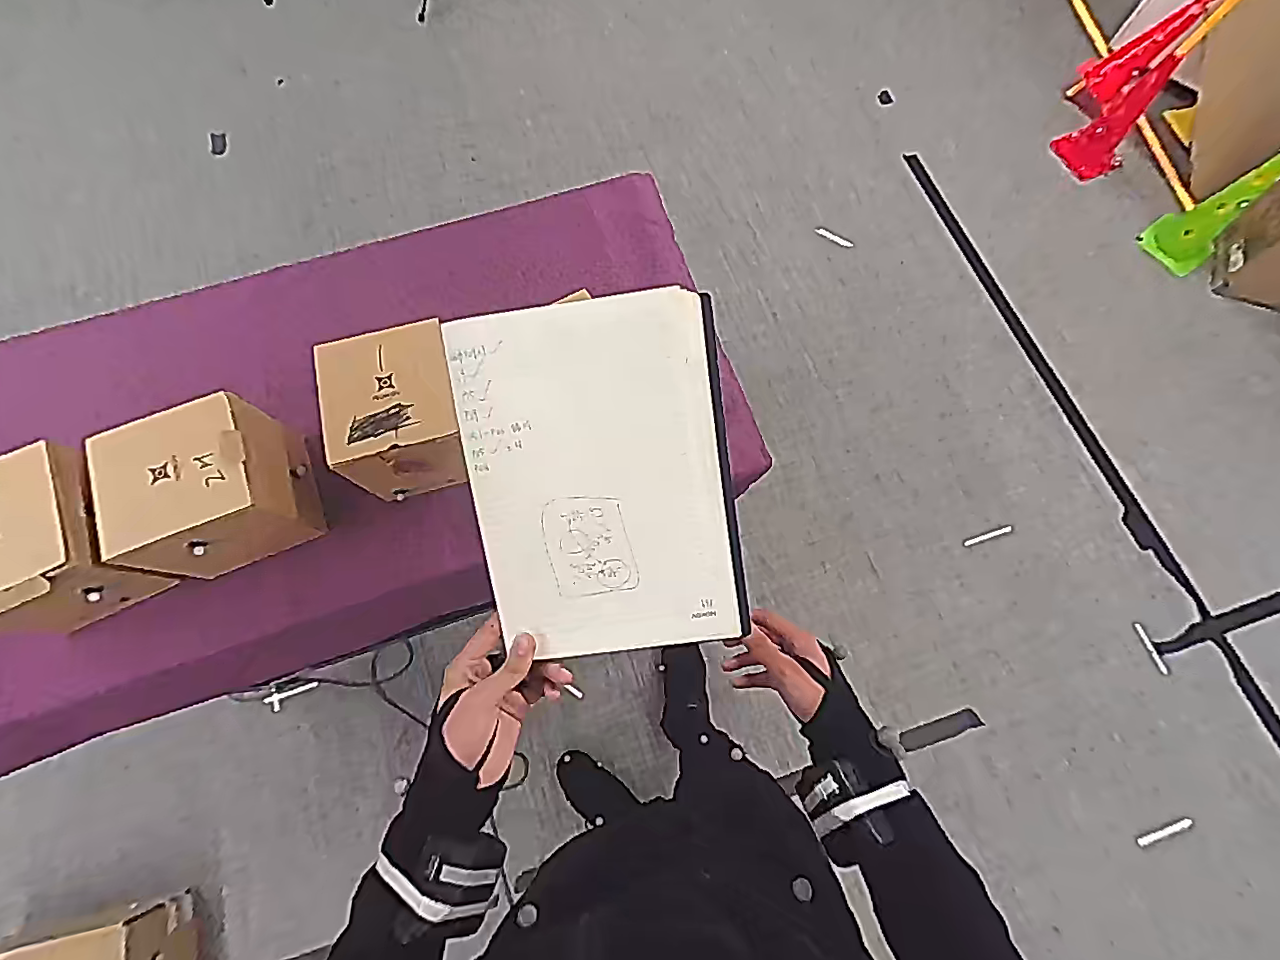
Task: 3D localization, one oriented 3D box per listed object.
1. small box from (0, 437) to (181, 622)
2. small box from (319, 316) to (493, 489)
[{"bbox_3d":[-0.758,0.076,0.711,0.168,0.176,0.179,-25,74,-9],"label":"small box"},{"bbox_3d":[-0.320,-0.096,0.765,0.168,0.176,0.179,-15,73,-5],"label":"small box"}]
